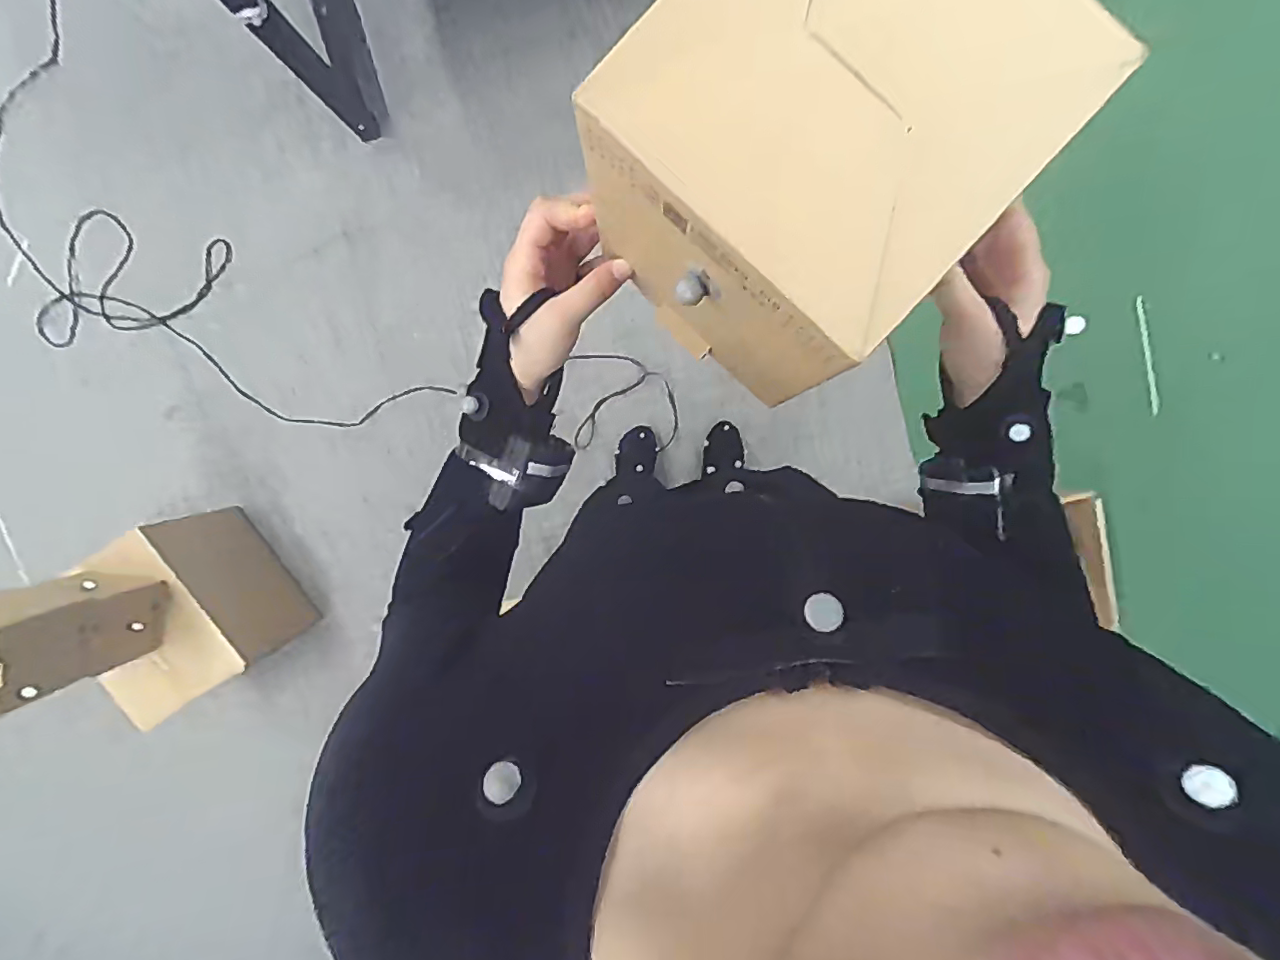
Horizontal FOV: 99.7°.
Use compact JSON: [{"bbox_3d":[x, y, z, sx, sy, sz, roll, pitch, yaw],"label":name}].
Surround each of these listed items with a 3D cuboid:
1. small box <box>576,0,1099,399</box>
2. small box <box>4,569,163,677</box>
[{"bbox_3d":[0.086,-0.169,0.304,0.168,0.176,0.179,42,91,0],"label":"small box"},{"bbox_3d":[-1.165,0.295,1.145,0.179,0.176,0.168,7,96,-2],"label":"small box"}]
